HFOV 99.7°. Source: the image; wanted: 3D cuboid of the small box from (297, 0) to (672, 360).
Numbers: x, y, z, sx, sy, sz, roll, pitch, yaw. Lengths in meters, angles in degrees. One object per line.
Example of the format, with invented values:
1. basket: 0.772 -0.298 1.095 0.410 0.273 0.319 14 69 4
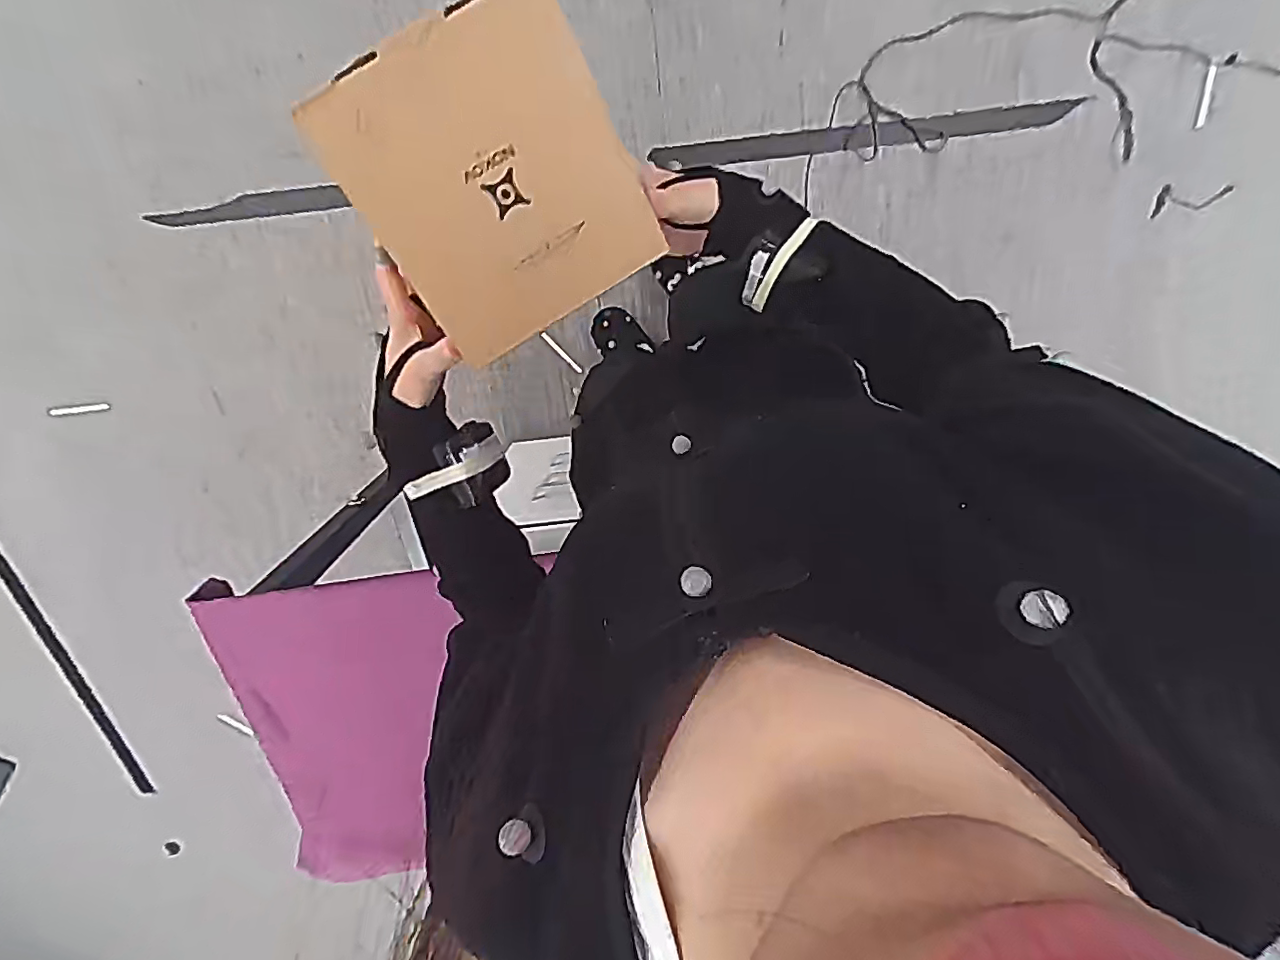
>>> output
1. small box: -0.105 -0.218 0.406 0.168 0.176 0.179 -31 119 -2
